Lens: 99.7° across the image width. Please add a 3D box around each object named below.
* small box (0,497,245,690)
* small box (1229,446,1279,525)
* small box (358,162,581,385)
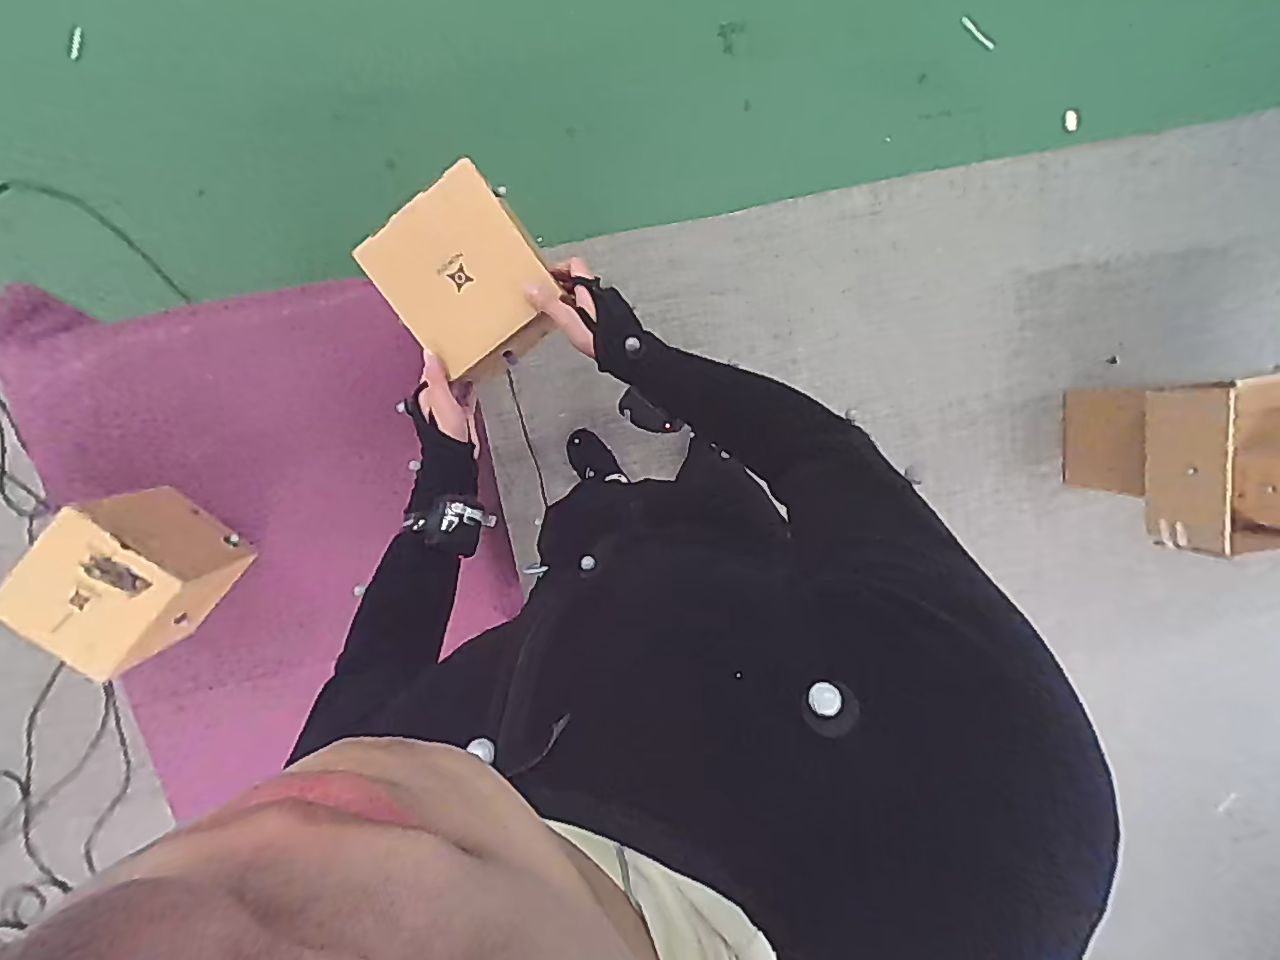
[{"bbox_3d":[-0.706,0.143,0.755,0.168,0.176,0.179,40,93,-9],"label":"small box"},{"bbox_3d":[1.522,0.013,1.240,0.179,0.176,0.168,-7,99,-3],"label":"small box"},{"bbox_3d":[-0.190,-0.236,0.664,0.168,0.176,0.179,-34,98,7],"label":"small box"}]
